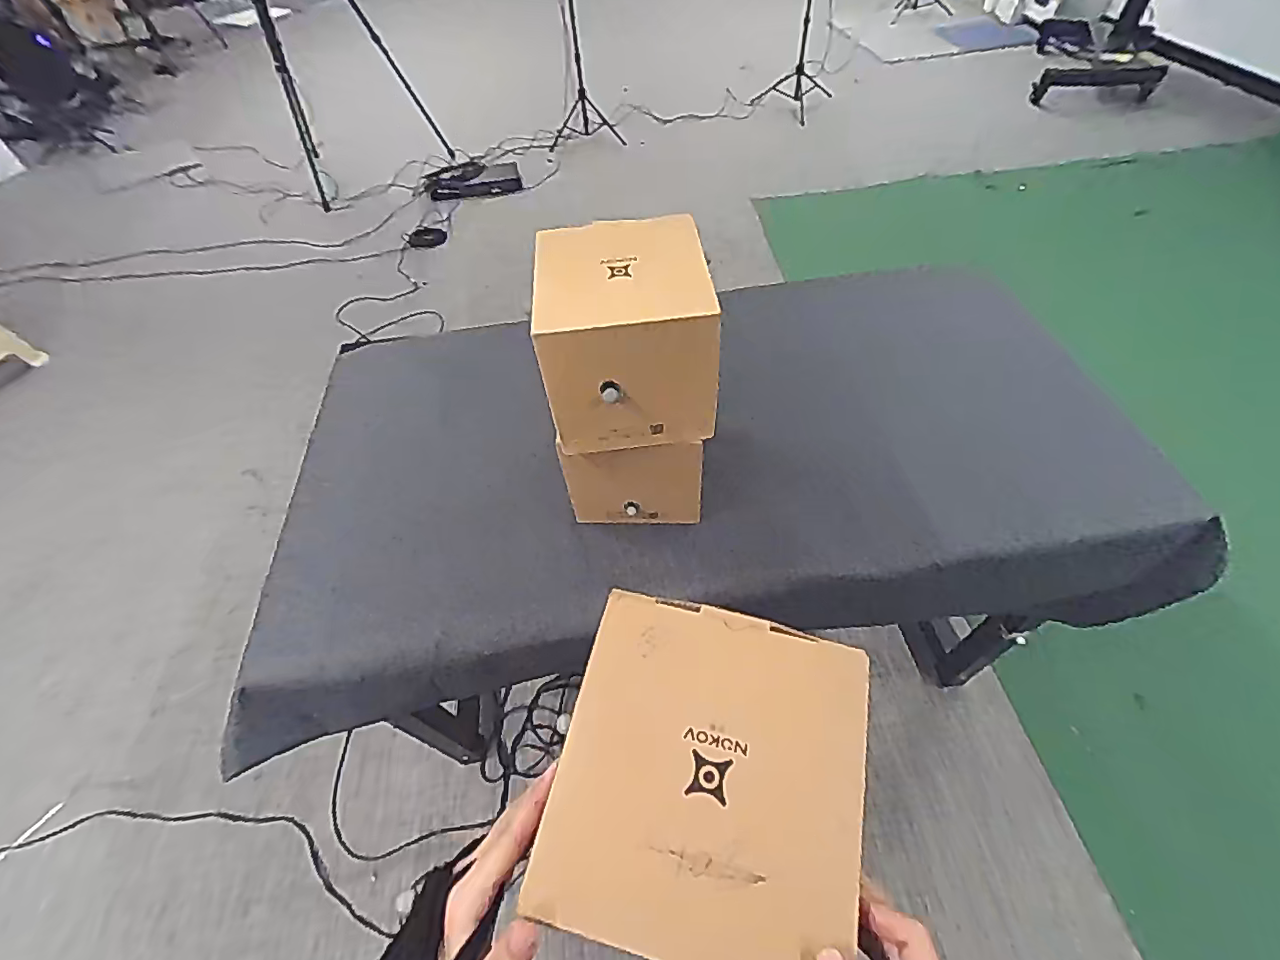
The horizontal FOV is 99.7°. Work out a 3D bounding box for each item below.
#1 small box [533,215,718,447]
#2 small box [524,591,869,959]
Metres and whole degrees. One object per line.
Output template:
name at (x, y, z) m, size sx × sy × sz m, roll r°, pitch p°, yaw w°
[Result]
small box at (-0.013, -0.149, 0.576) m, size 0.168 × 0.176 × 0.179 m, roll -7°, pitch 52°, yaw 0°
small box at (0.041, 0.202, 0.368) m, size 0.168 × 0.176 × 0.179 m, roll 12°, pitch 60°, yaw 9°
